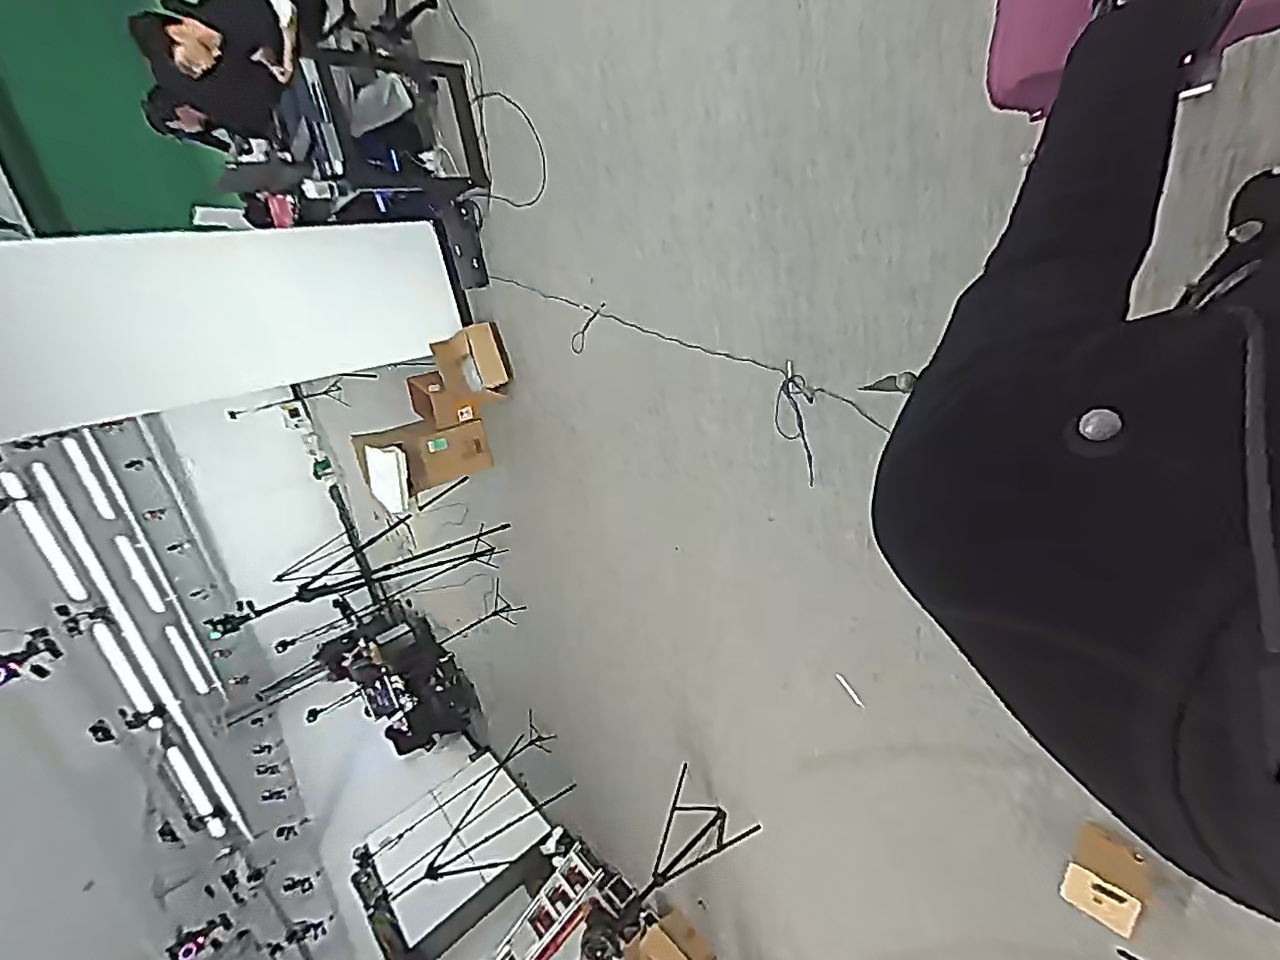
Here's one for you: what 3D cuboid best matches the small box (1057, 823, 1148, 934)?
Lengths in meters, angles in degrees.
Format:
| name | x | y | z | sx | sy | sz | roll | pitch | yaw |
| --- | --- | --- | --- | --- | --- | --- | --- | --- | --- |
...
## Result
| name | x | y | z | sx | sy | sz | roll | pitch | yaw |
| --- | --- | --- | --- | --- | --- | --- | --- | --- | --- |
| small box | 1.397 | 1.192 | 1.632 | 0.168 | 0.176 | 0.179 | 19 | 125 | 46 |
